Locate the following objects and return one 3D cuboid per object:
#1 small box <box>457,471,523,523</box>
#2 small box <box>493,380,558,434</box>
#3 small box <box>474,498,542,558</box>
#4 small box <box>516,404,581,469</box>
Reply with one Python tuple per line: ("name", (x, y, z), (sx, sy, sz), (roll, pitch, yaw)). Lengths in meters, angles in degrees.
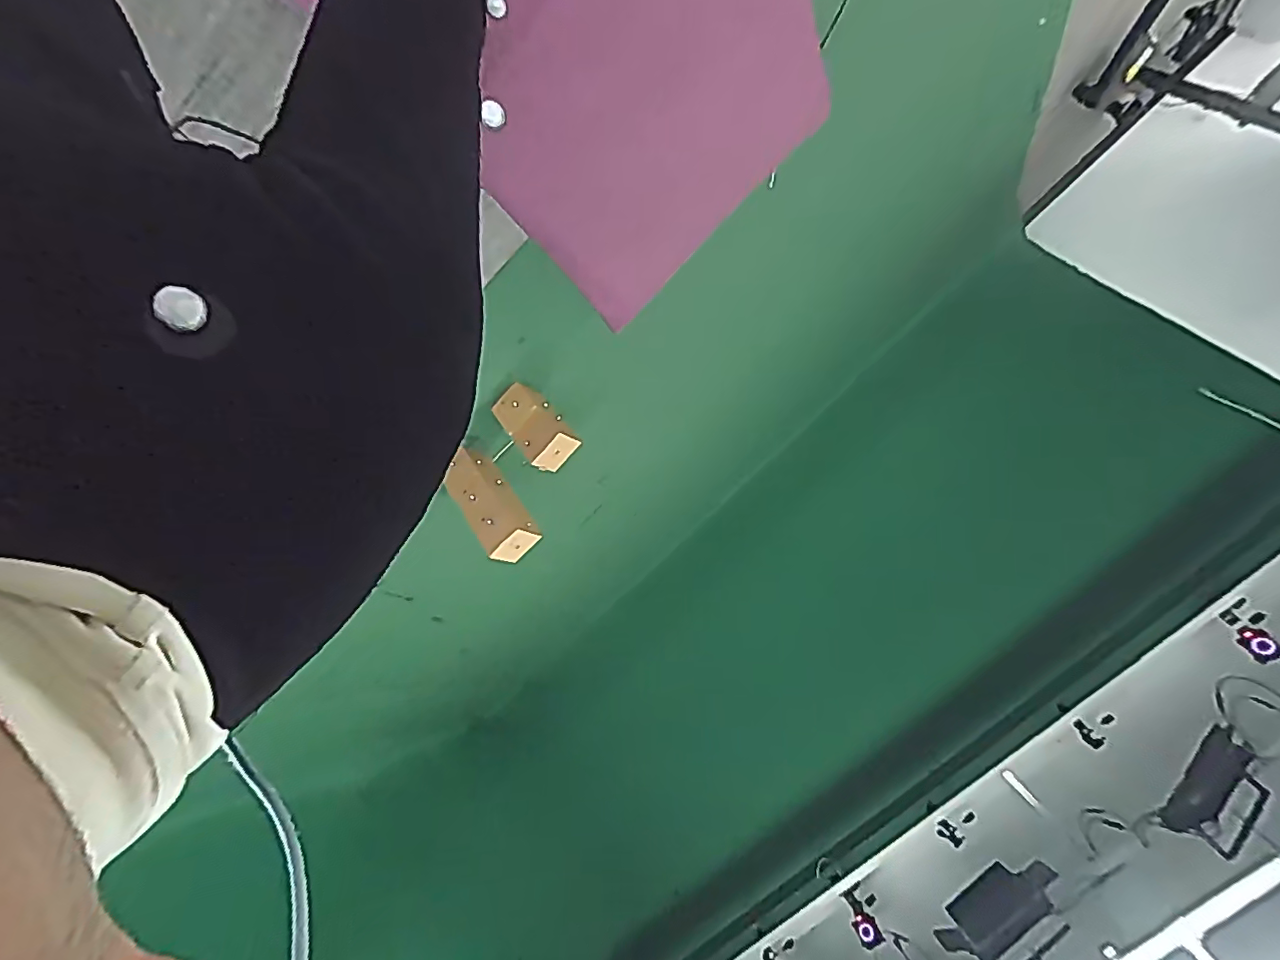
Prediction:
("small box", (-0.636, 0.082, 2.275), (0.168, 0.176, 0.179), (-43, 152, 9))
("small box", (-0.482, -0.292, 2.264), (0.168, 0.176, 0.179), (-46, 154, 11))
("small box", (-0.540, 0.194, 2.202), (0.168, 0.176, 0.179), (-43, 152, 7))
("small box", (-0.382, -0.177, 2.206), (0.179, 0.176, 0.168), (-46, 154, 11))
